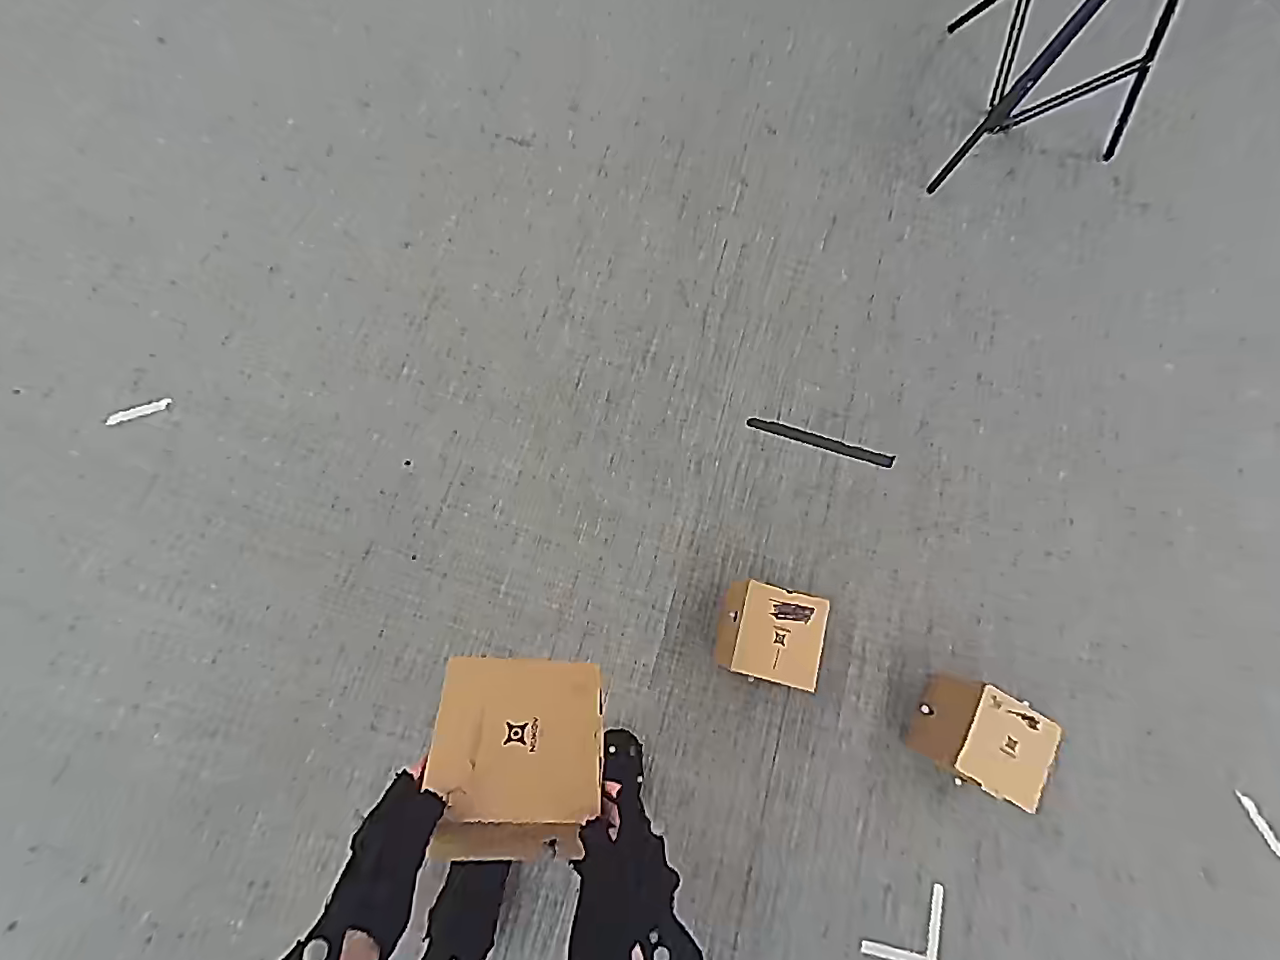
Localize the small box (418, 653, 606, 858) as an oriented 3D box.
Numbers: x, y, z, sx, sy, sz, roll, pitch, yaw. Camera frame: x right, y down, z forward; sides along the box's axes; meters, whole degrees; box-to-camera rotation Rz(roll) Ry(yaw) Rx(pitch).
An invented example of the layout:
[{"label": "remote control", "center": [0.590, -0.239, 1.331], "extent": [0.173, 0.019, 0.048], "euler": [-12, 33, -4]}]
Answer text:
[{"label": "small box", "center": [-0.138, 0.318, 0.622], "extent": [0.179, 0.176, 0.168], "euler": [5, 43, -9]}]

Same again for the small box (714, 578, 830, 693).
[{"label": "small box", "center": [0.259, 0.308, 1.093], "extent": [0.168, 0.176, 0.179], "euler": [16, 77, -1]}]

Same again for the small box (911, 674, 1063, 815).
[{"label": "small box", "center": [0.680, 0.515, 1.081], "extent": [0.168, 0.176, 0.179], "euler": [31, 77, 3]}]
